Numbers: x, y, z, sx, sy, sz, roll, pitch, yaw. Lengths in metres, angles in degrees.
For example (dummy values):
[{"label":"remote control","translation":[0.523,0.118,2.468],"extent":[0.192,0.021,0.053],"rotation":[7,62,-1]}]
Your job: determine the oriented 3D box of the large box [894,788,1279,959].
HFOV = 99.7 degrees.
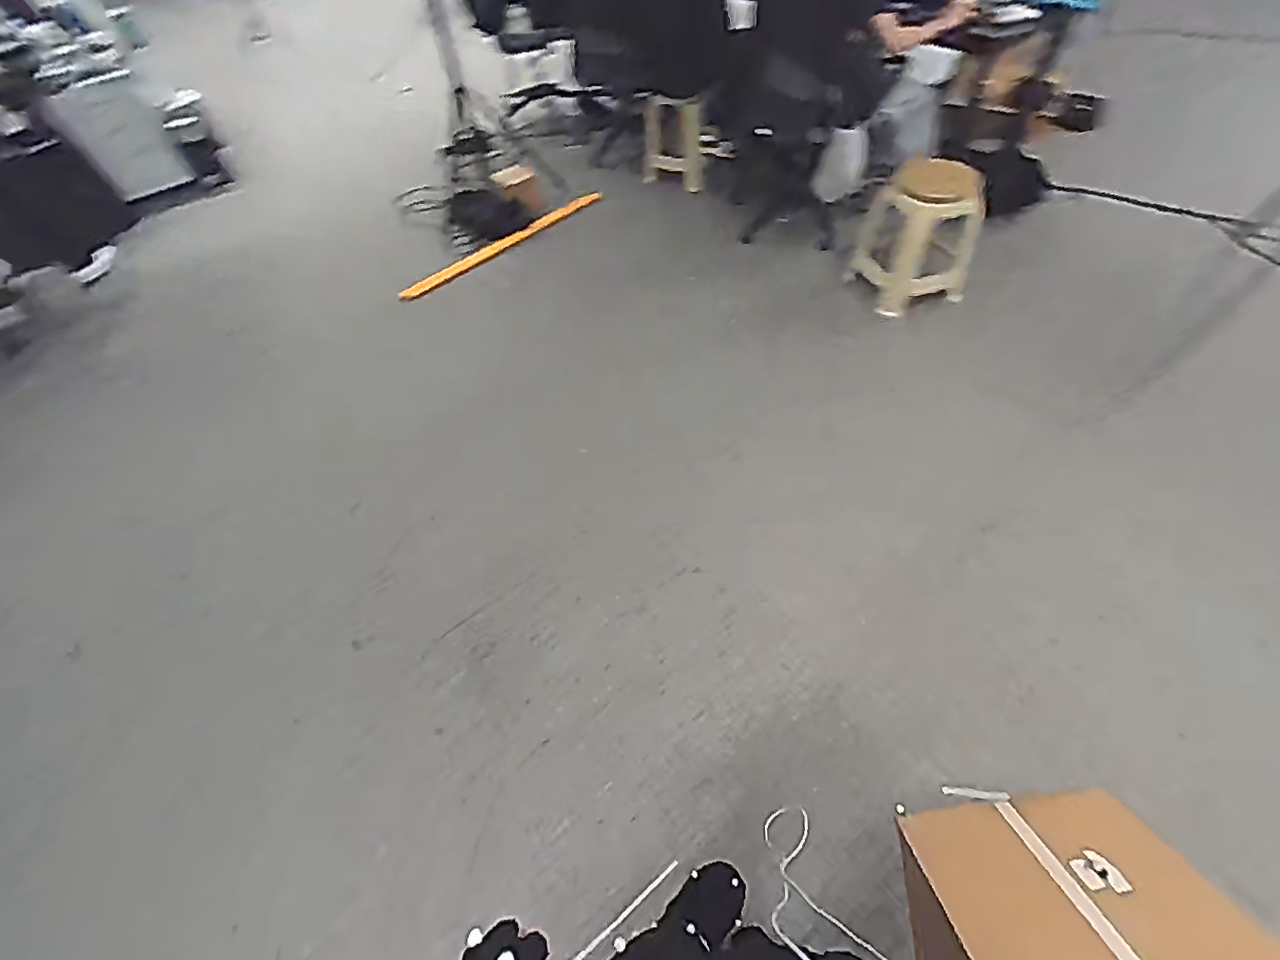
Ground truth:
[{"label":"large box","translation":[0.571,0.675,0.661],"extent":[0.320,0.408,0.320],"rotation":[-11,98,4]}]
